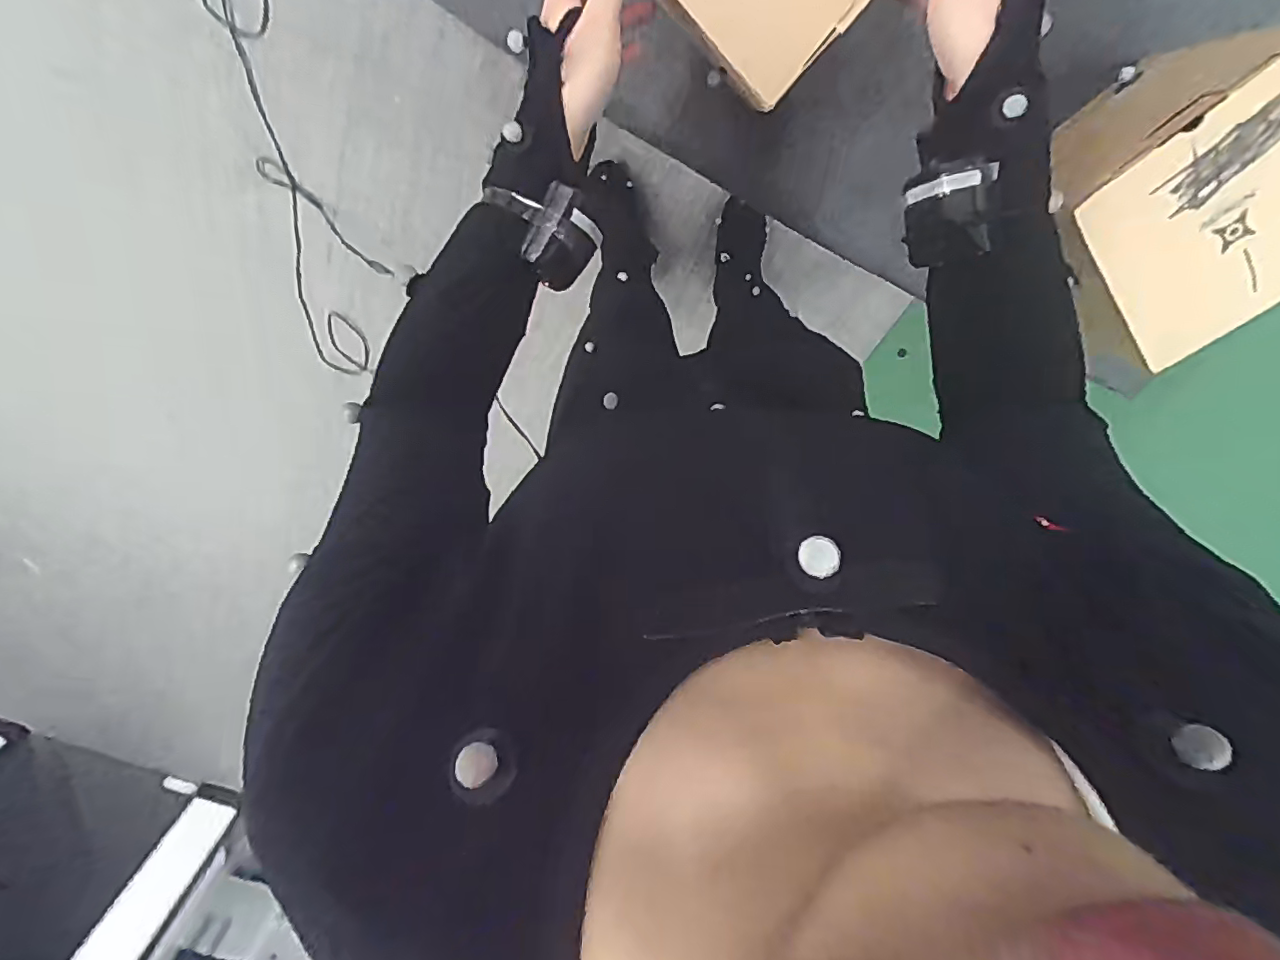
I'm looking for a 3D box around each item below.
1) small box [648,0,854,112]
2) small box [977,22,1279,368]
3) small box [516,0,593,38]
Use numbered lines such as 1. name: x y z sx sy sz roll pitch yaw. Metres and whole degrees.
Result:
1. small box: 0.080 -0.410 0.389 0.179 0.176 0.168 36 121 -20
2. small box: 0.435 -0.233 0.465 0.168 0.176 0.179 -37 111 24
3. small box: -0.170 -0.936 0.962 0.179 0.176 0.168 35 120 -16
